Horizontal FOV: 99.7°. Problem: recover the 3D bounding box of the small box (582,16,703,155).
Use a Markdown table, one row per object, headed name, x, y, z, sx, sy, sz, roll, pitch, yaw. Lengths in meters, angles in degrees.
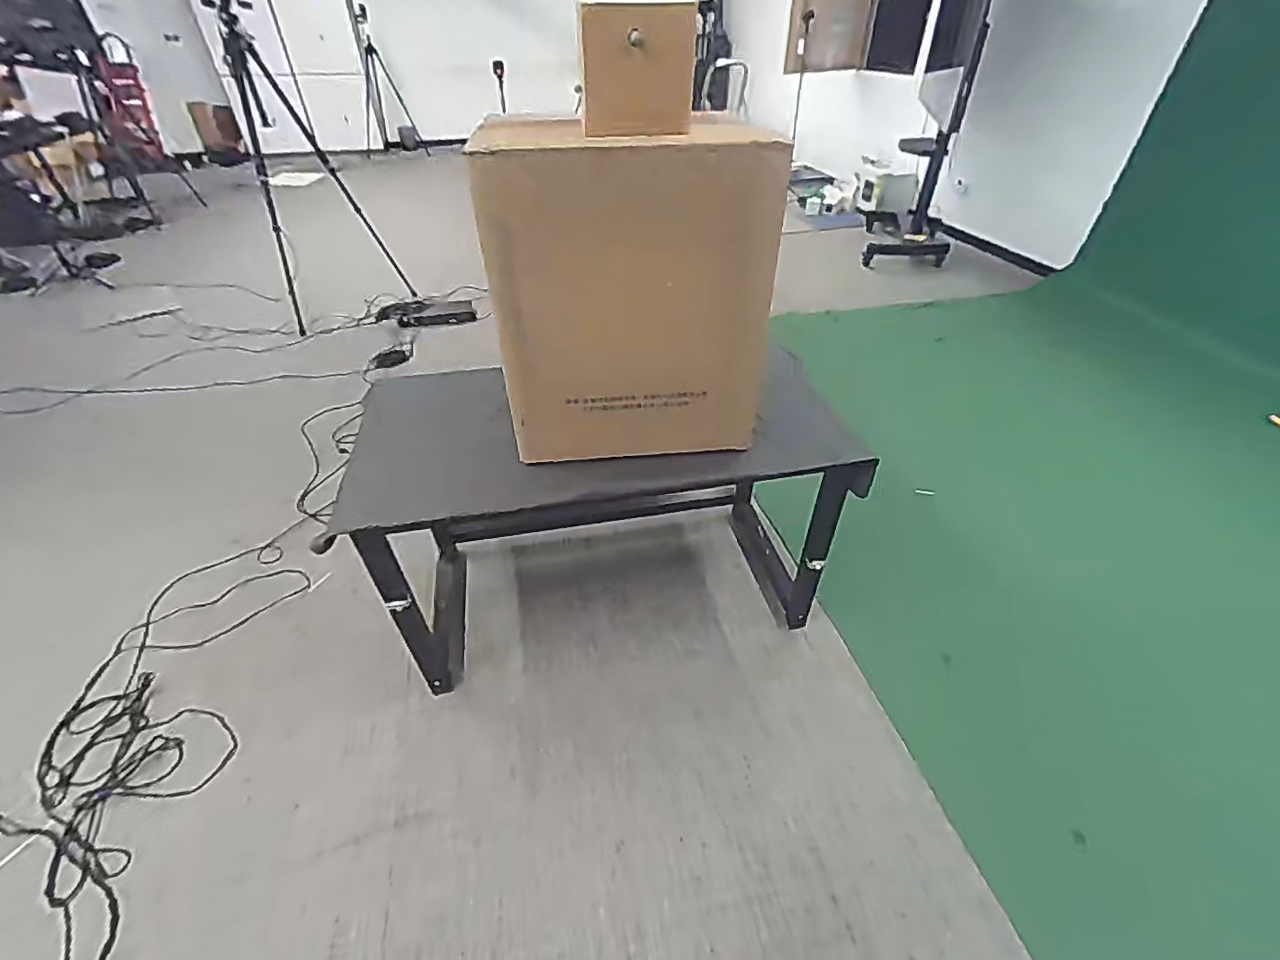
| name | x | y | z | sx | sy | sz | roll | pitch | yaw |
| --- | --- | --- | --- | --- | --- | --- | --- | --- | --- |
| small box | -0.003 | -0.654 | 0.899 | 0.179 | 0.176 | 0.168 | -5 | 42 | -5 |
